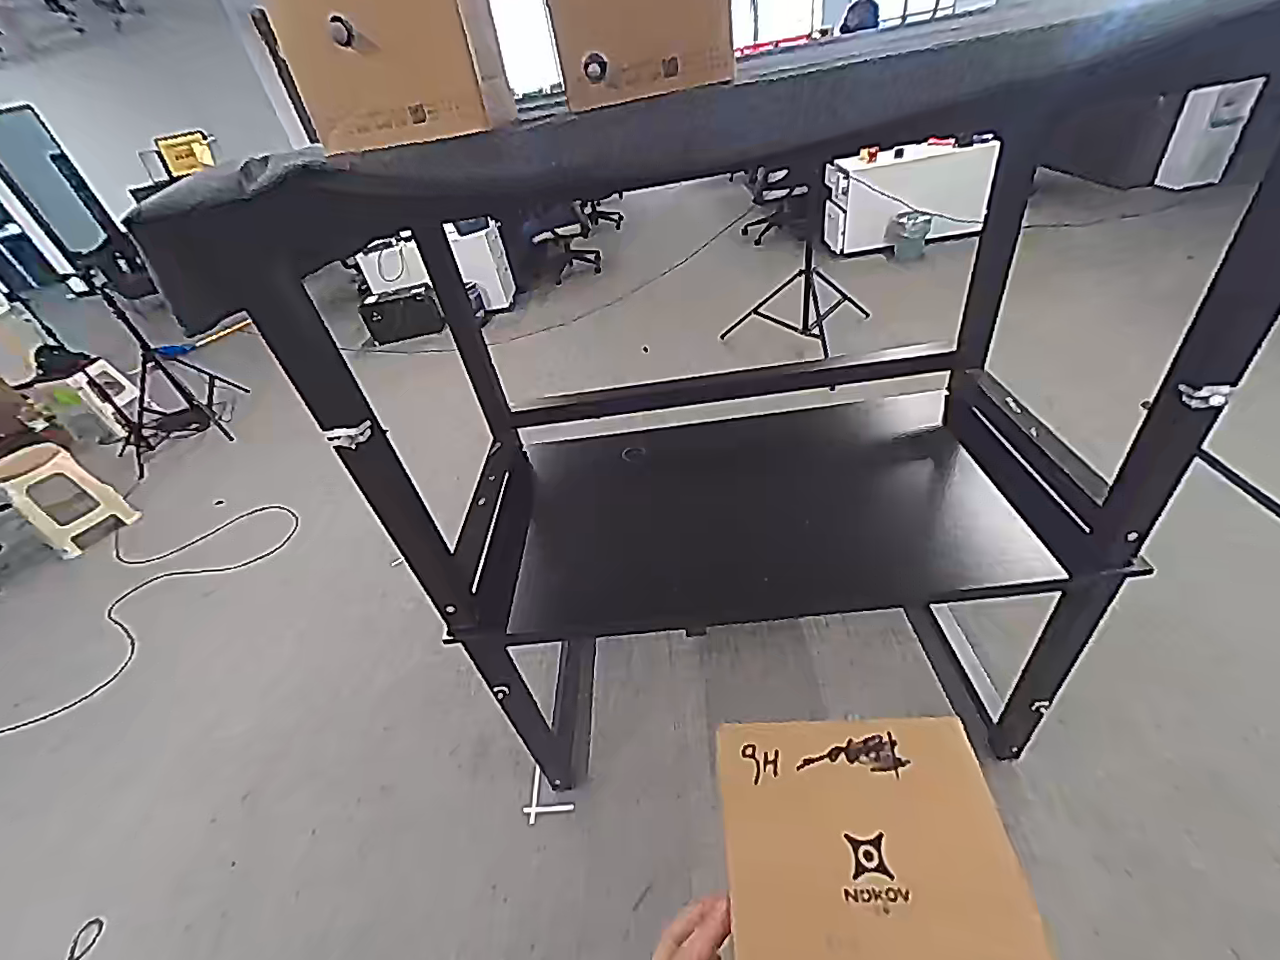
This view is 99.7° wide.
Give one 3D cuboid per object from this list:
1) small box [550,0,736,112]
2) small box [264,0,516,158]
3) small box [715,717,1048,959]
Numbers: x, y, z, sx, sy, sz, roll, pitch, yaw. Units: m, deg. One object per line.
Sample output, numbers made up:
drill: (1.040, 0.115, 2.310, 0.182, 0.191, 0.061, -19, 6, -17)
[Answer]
small box: (0.003, -0.484, 0.543, 0.168, 0.176, 0.179, -6, 36, 7)
small box: (-0.237, -0.438, 0.548, 0.168, 0.176, 0.179, -6, 36, 4)
small box: (0.141, 0.280, 0.370, 0.168, 0.176, 0.179, -3, 47, 5)
